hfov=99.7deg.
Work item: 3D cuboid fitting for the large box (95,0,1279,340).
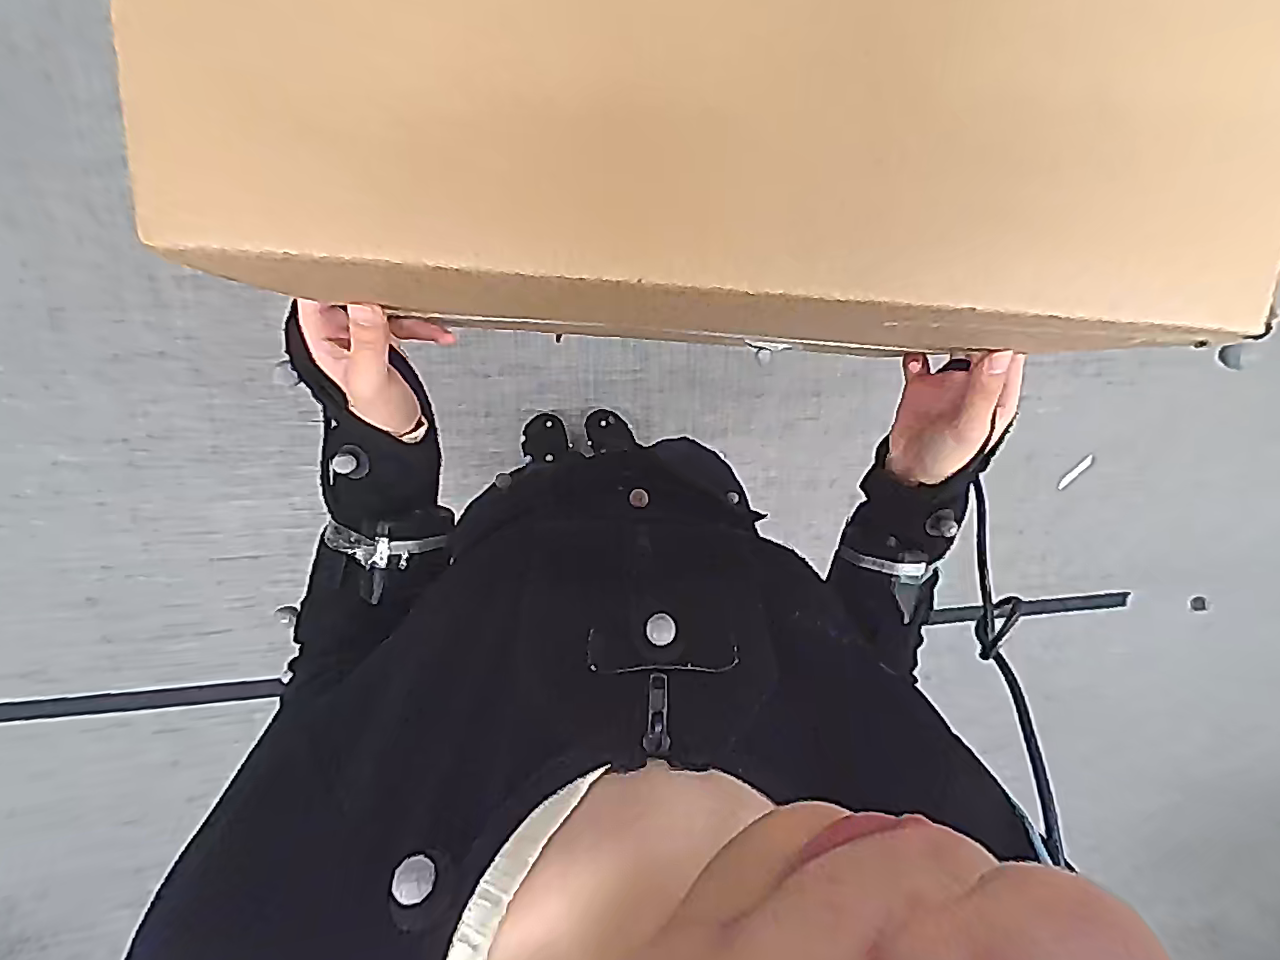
[{"bbox_3d":[0.034,-0.253,0.295,0.408,0.320,0.320,1,103,-6],"label":"large box"}]
